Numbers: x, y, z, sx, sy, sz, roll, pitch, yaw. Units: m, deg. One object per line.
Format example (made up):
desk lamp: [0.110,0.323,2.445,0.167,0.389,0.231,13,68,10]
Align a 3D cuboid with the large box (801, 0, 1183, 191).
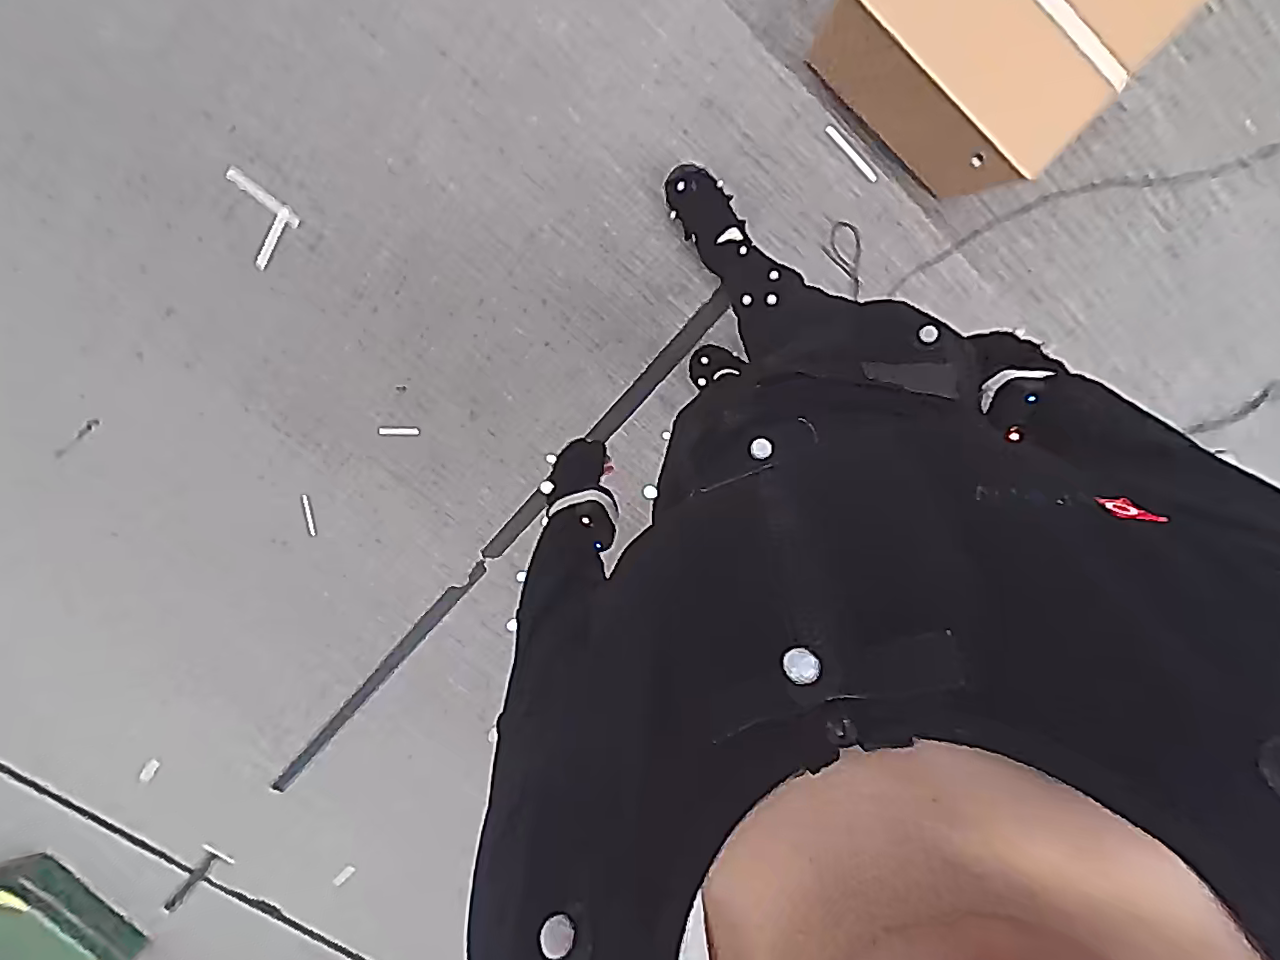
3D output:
large box: [0.542,-0.756,0.894,0.408,0.320,0.320,37,110,-10]
